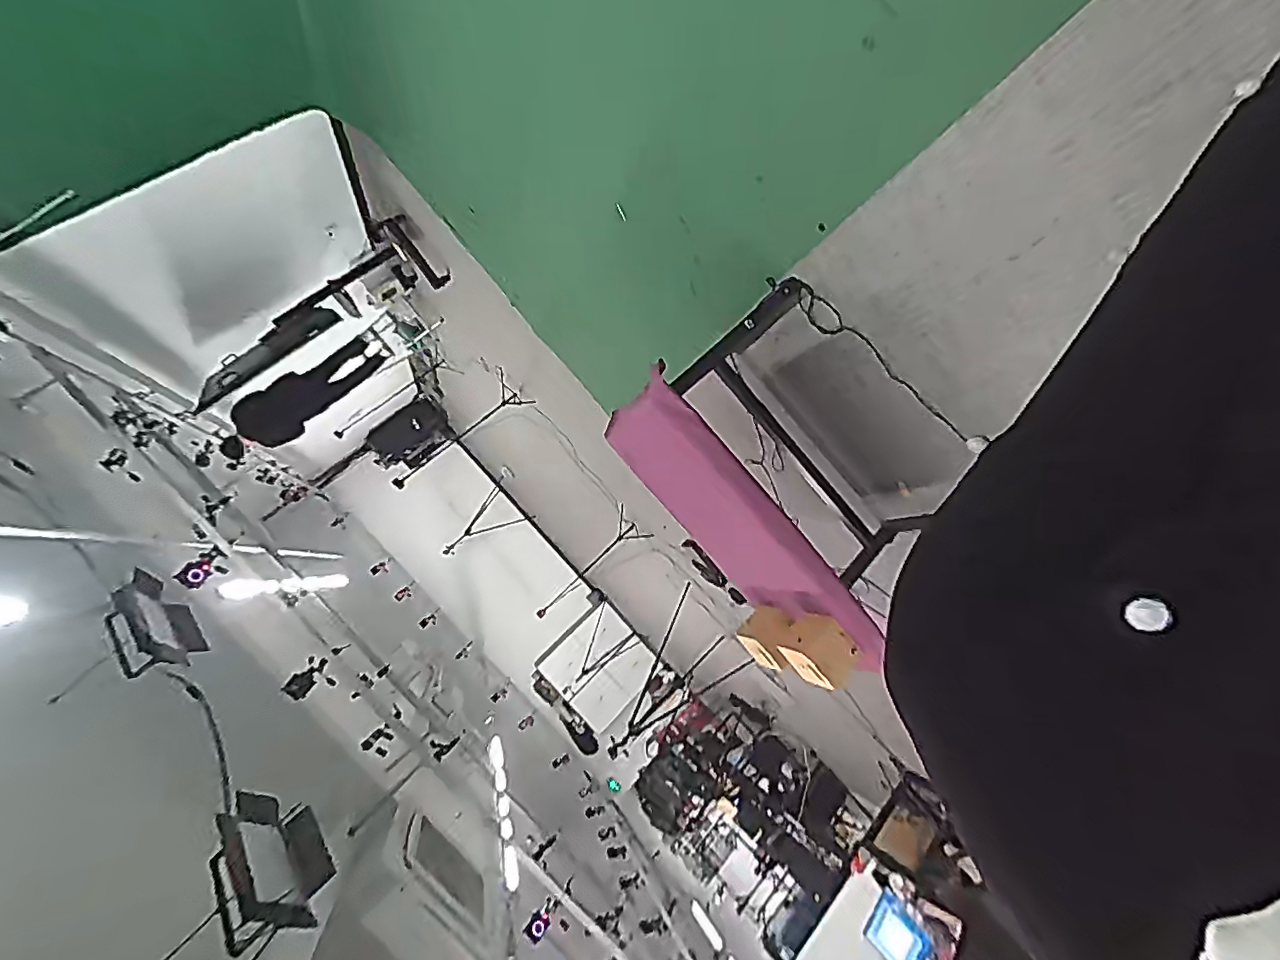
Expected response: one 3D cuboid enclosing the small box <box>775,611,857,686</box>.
[{"bbox_3d":[0.601,0.562,1.827,0.168,0.176,0.179,49,162,-5],"label":"small box"}]
